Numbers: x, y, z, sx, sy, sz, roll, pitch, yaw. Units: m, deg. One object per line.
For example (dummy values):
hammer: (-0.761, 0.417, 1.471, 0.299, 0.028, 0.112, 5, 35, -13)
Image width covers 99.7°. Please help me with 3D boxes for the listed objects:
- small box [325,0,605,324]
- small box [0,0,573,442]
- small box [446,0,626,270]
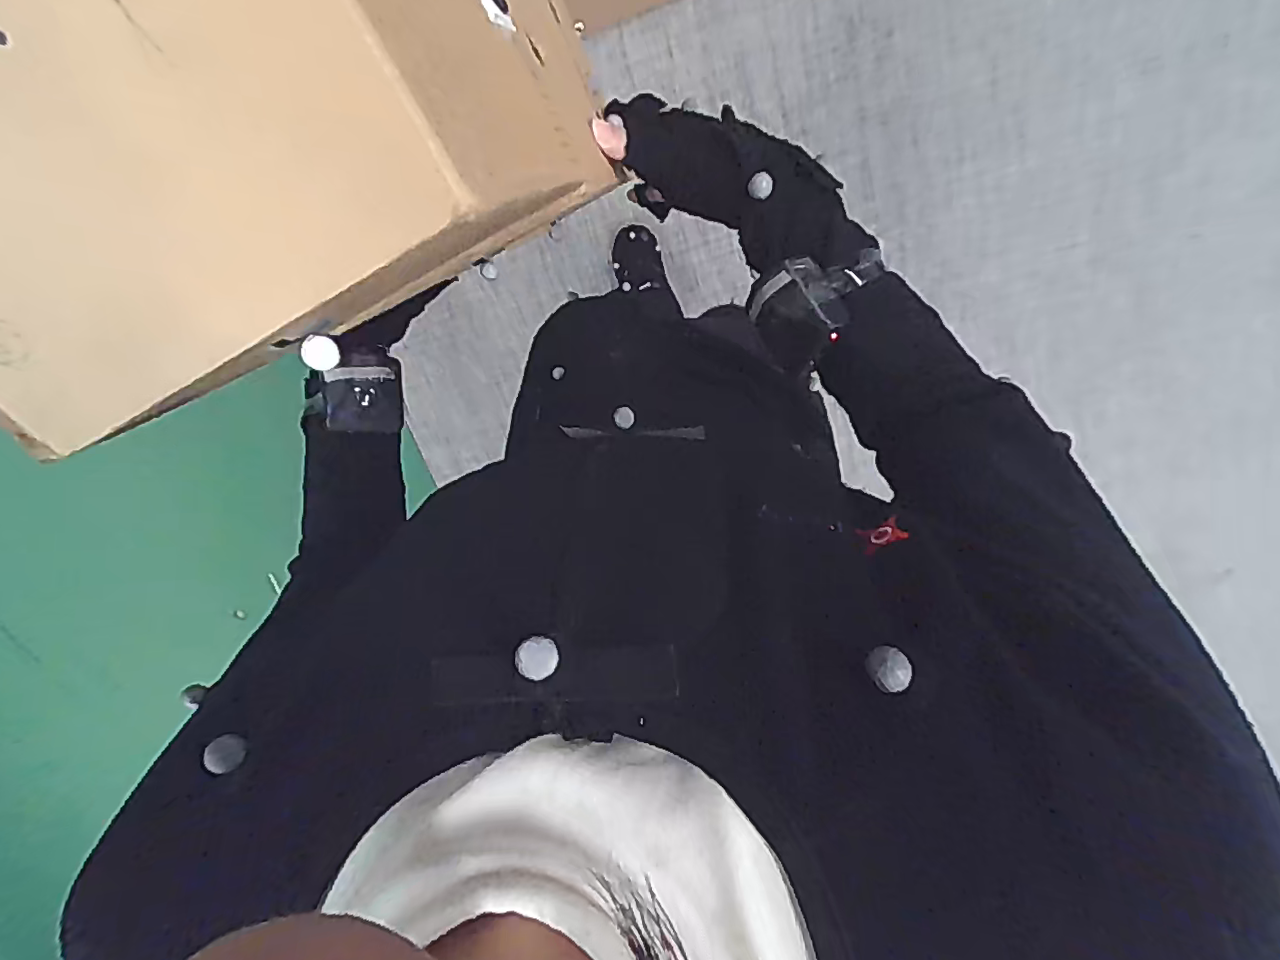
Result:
small box: (-0.132, -0.224, 0.326, 0.179, 0.176, 0.168, -18, 118, 18)
small box: (-0.145, -0.145, 0.185, 0.179, 0.176, 0.168, -21, 119, 17)
small box: (-0.124, -0.314, 0.464, 0.168, 0.176, 0.179, -20, 119, 18)
